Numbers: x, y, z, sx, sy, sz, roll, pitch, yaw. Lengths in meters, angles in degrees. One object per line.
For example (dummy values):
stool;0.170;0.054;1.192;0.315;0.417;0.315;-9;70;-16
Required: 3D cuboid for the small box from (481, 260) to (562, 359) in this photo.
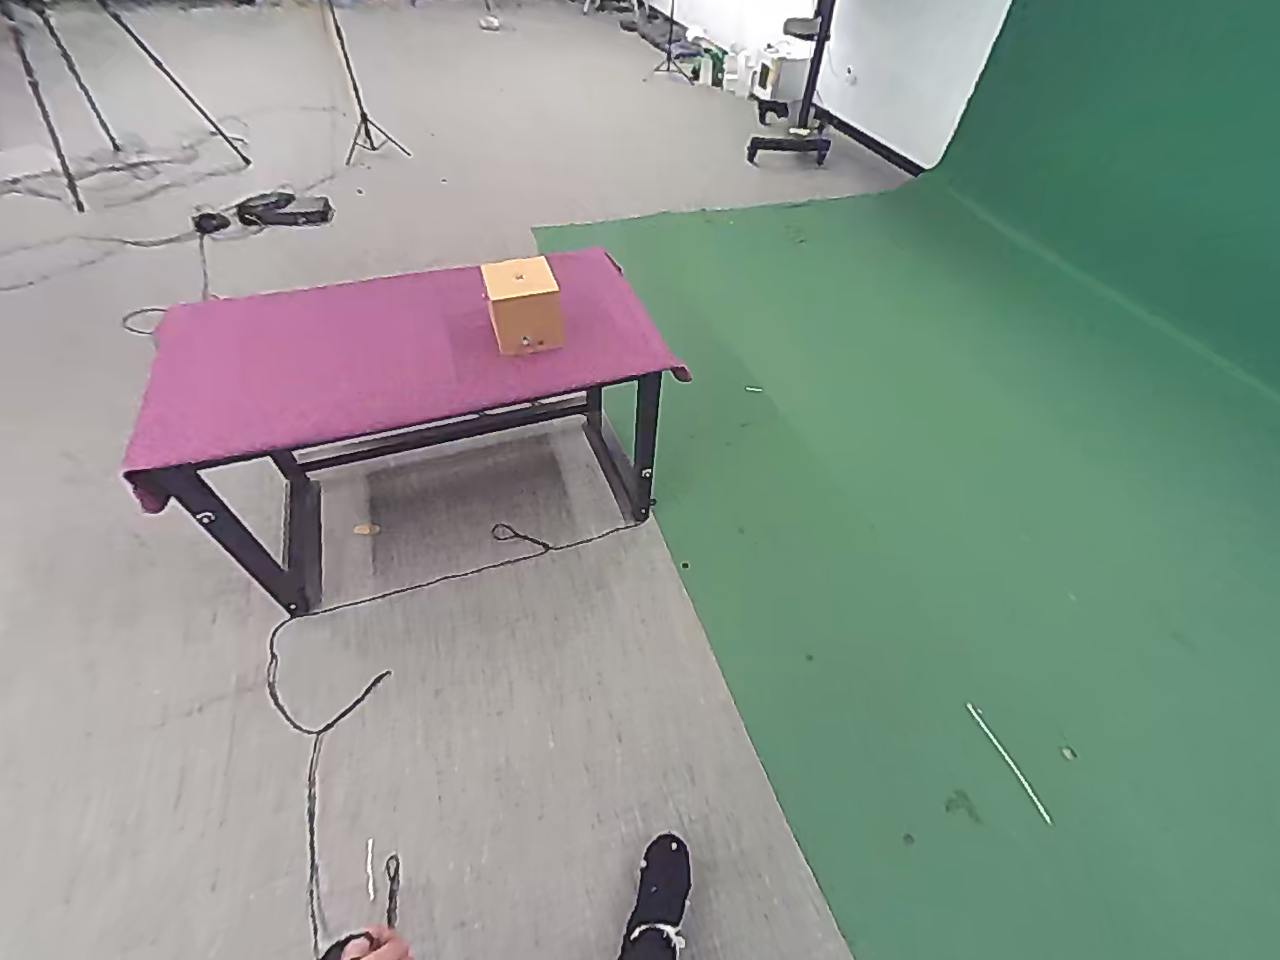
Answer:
small box;-0.301;-0.437;1.386;0.168;0.176;0.179;-13;51;-12
